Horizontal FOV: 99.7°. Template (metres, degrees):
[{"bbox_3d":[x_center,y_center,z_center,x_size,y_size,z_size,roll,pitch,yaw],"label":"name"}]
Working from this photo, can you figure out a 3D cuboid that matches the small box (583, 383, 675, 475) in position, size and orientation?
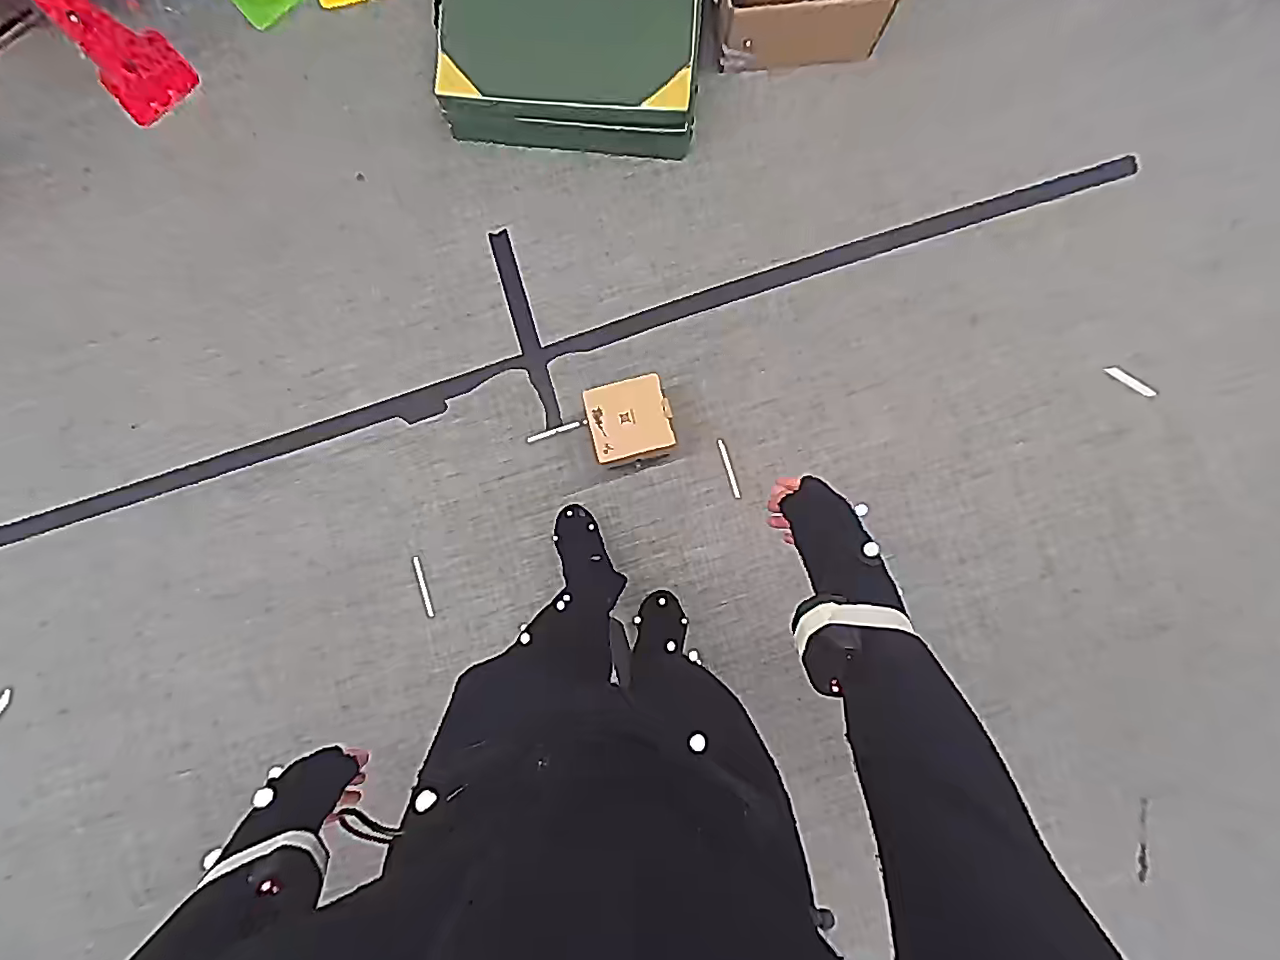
[{"bbox_3d":[-0.027,-0.113,1.267,0.179,0.176,0.168,-13,85,-2],"label":"small box"}]
